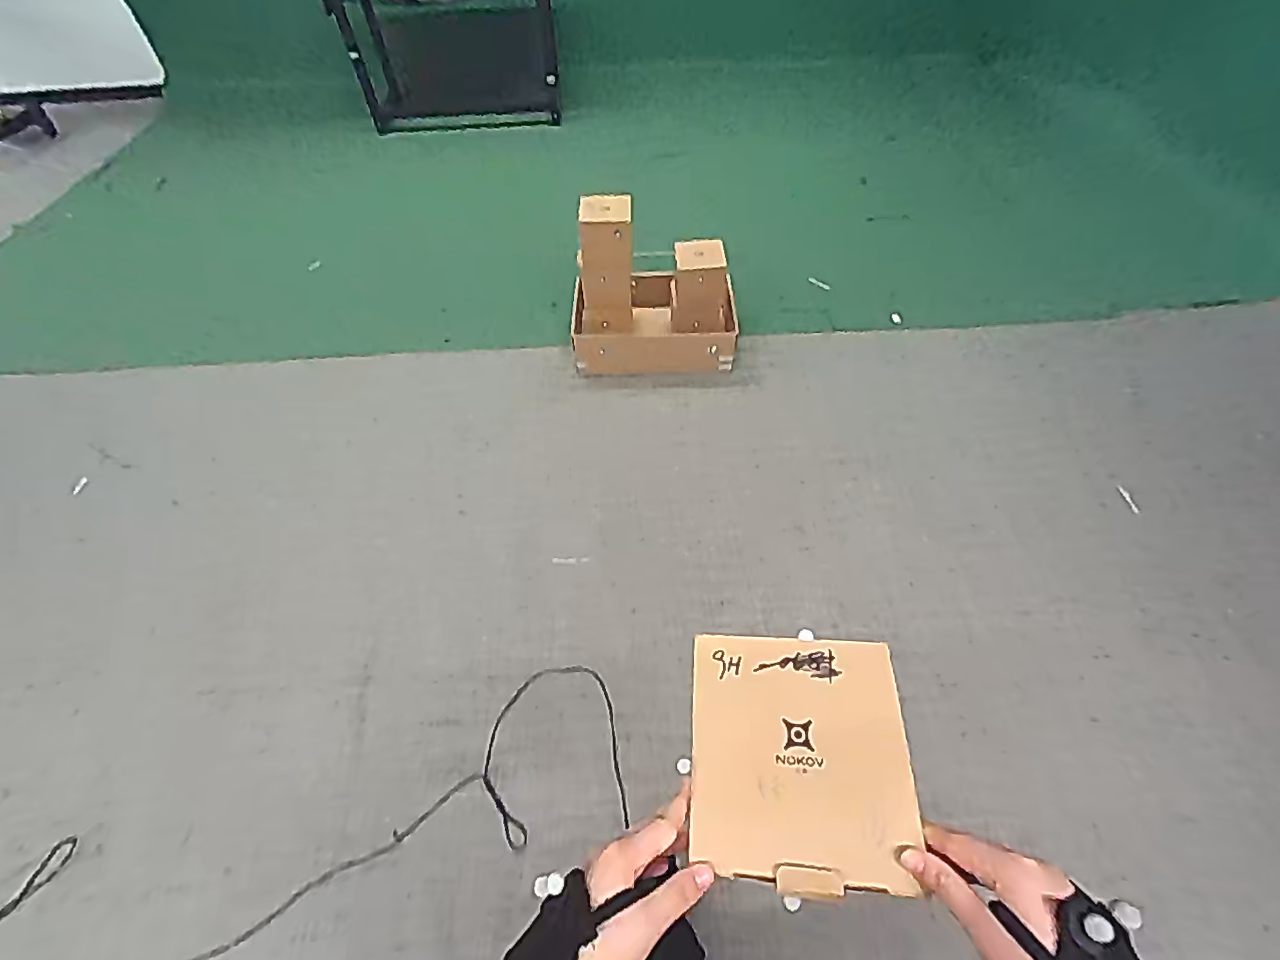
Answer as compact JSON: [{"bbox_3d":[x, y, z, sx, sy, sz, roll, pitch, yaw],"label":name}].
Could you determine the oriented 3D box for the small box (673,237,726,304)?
[{"bbox_3d":[0.215,-0.762,1.978,0.179,0.176,0.168,-3,56,1],"label":"small box"}]

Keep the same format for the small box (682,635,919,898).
[{"bbox_3d":[0.127,0.255,0.490,0.168,0.176,0.179,1,56,7],"label":"small box"}]

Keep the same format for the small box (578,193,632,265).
[{"bbox_3d":[-0.115,-0.859,1.855,0.179,0.176,0.168,-1,54,0],"label":"small box"}]

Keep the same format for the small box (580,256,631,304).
[{"bbox_3d":[-0.123,-0.764,1.991,0.179,0.176,0.168,-1,55,0],"label":"small box"}]

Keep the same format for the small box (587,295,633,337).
[{"bbox_3d":[-0.115,-0.677,2.130,0.168,0.176,0.179,-2,55,0],"label":"small box"}]
